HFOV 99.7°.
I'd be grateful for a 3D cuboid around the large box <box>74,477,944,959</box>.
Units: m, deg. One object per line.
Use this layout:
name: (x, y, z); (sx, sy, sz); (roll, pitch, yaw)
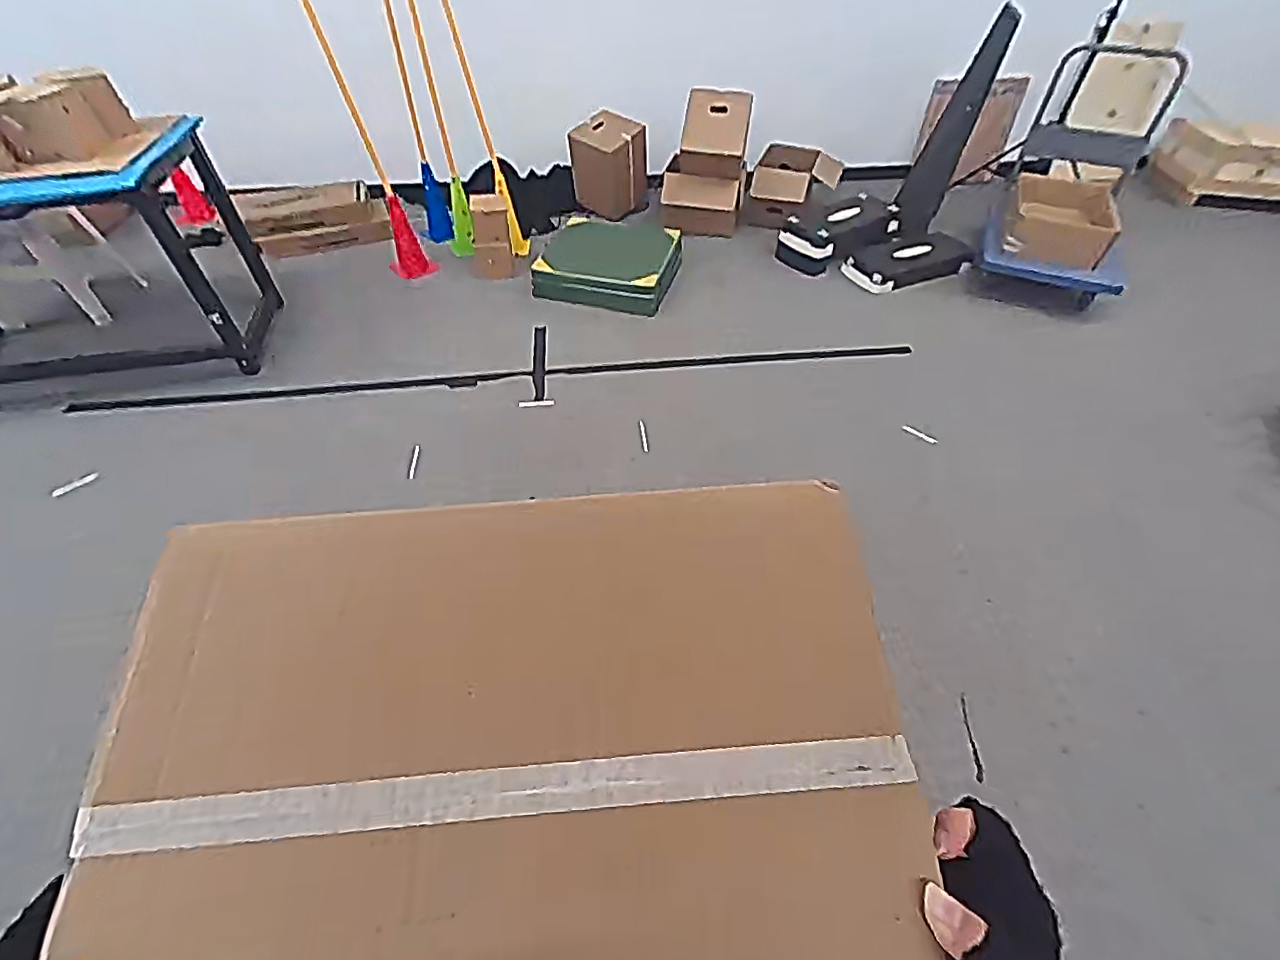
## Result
large box: (-0.066, 0.216, 0.414); (0.408, 0.320, 0.320); (-4, 65, -1)
